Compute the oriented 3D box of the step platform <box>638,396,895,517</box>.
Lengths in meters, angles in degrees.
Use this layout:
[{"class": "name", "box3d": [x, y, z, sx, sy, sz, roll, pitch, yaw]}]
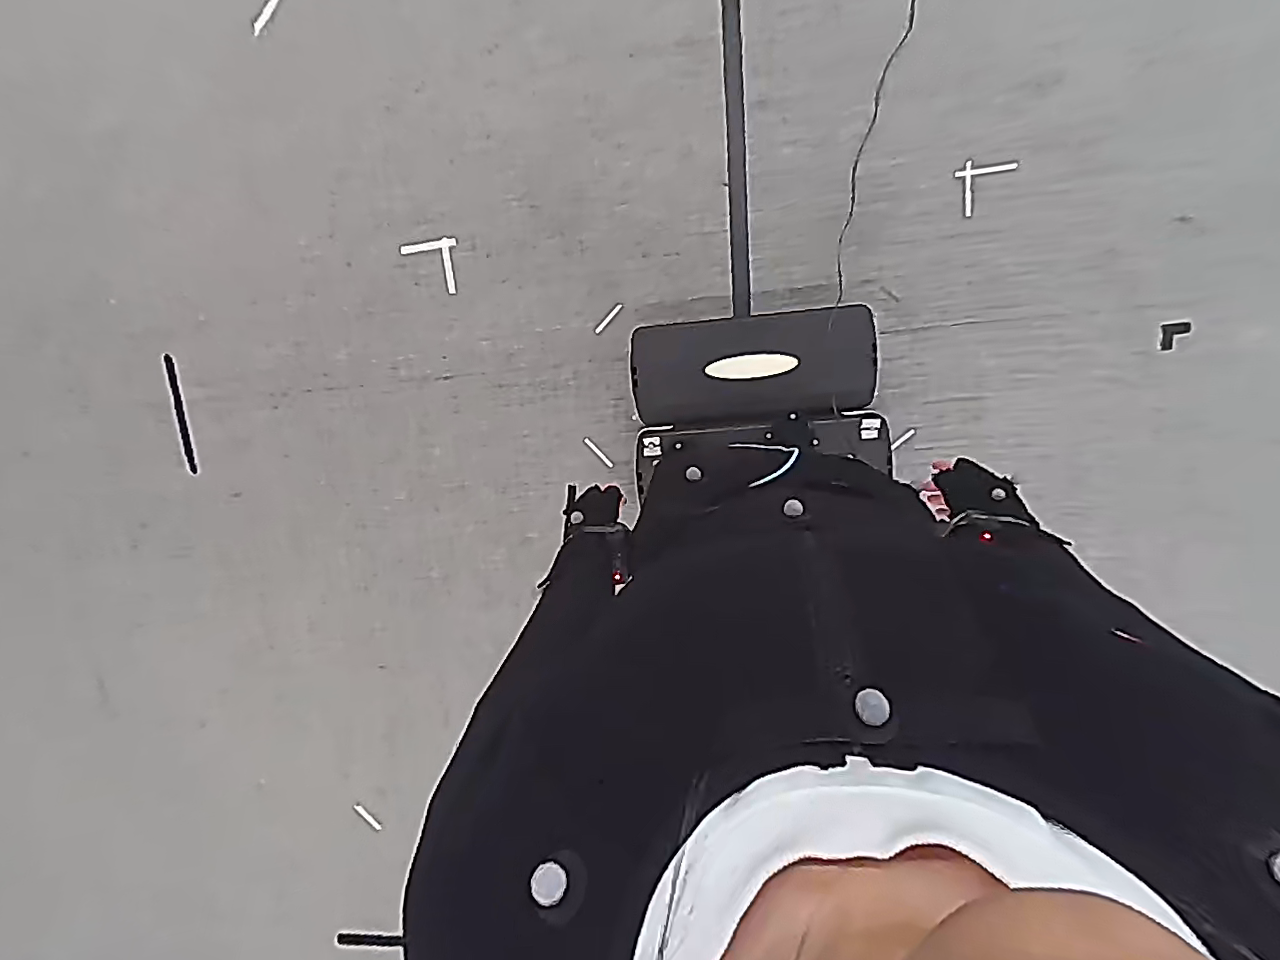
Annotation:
[{"class": "step platform", "box3d": [0.337, -0.063, 1.511, 0.684, 0.204, 0.286, -5, 98, 8]}]
